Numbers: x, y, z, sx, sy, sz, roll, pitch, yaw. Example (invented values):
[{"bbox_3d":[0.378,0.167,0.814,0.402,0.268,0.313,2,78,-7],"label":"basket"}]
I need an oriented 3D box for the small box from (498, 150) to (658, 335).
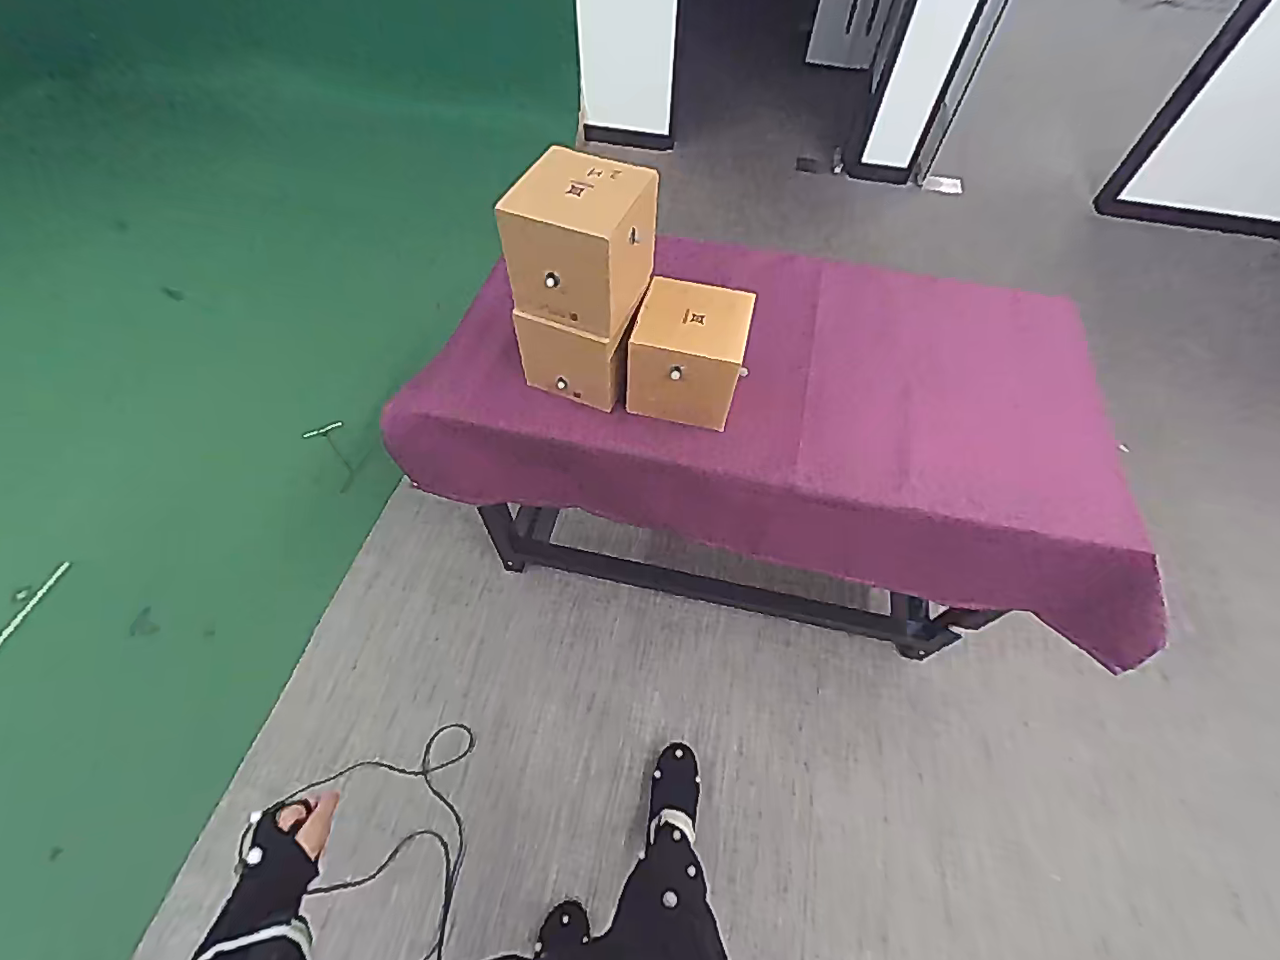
[{"bbox_3d":[-0.082,-0.346,0.802,0.168,0.176,0.179,21,59,10],"label":"small box"}]
